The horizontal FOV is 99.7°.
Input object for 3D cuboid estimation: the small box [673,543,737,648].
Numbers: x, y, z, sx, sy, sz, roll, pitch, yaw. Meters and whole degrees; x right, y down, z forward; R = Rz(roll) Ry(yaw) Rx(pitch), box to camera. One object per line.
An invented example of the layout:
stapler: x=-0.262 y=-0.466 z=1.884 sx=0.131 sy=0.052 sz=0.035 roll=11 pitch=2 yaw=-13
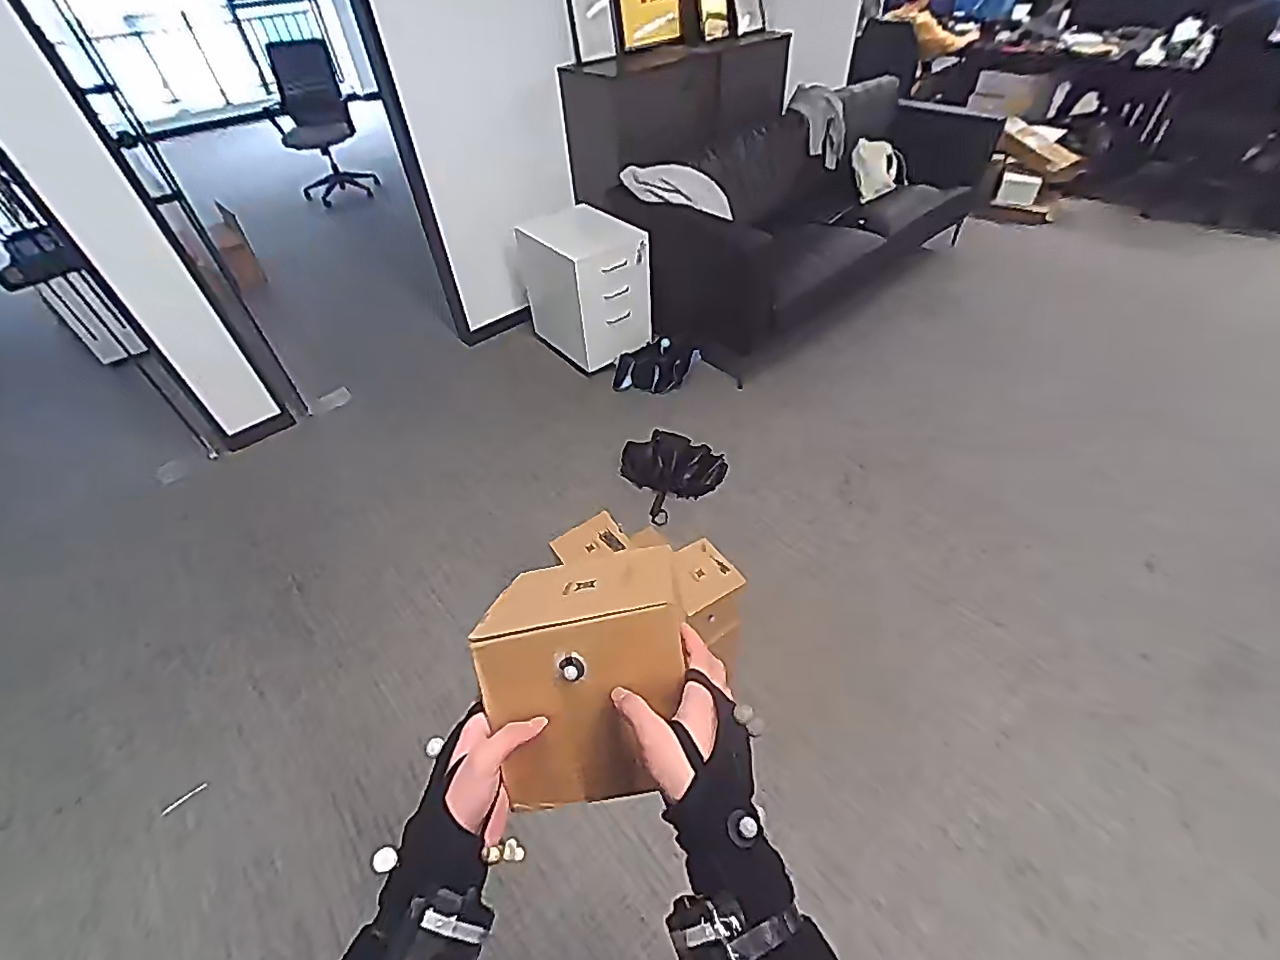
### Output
small box: x=0.117 y=0.294 z=1.329 sx=0.179 sy=0.176 sz=0.168 roll=-25 pitch=48 yaw=-23

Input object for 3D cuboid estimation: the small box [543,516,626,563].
small box: x=-0.128 y=0.232 z=1.401 sx=0.179 sy=0.176 sz=0.168 roll=-28 pitch=50 yaw=-20

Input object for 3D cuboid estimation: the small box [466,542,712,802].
small box: x=-0.038 y=0.173 z=0.515 sx=0.179 sy=0.176 sz=0.168 roll=-10 pitch=8 yaw=2
